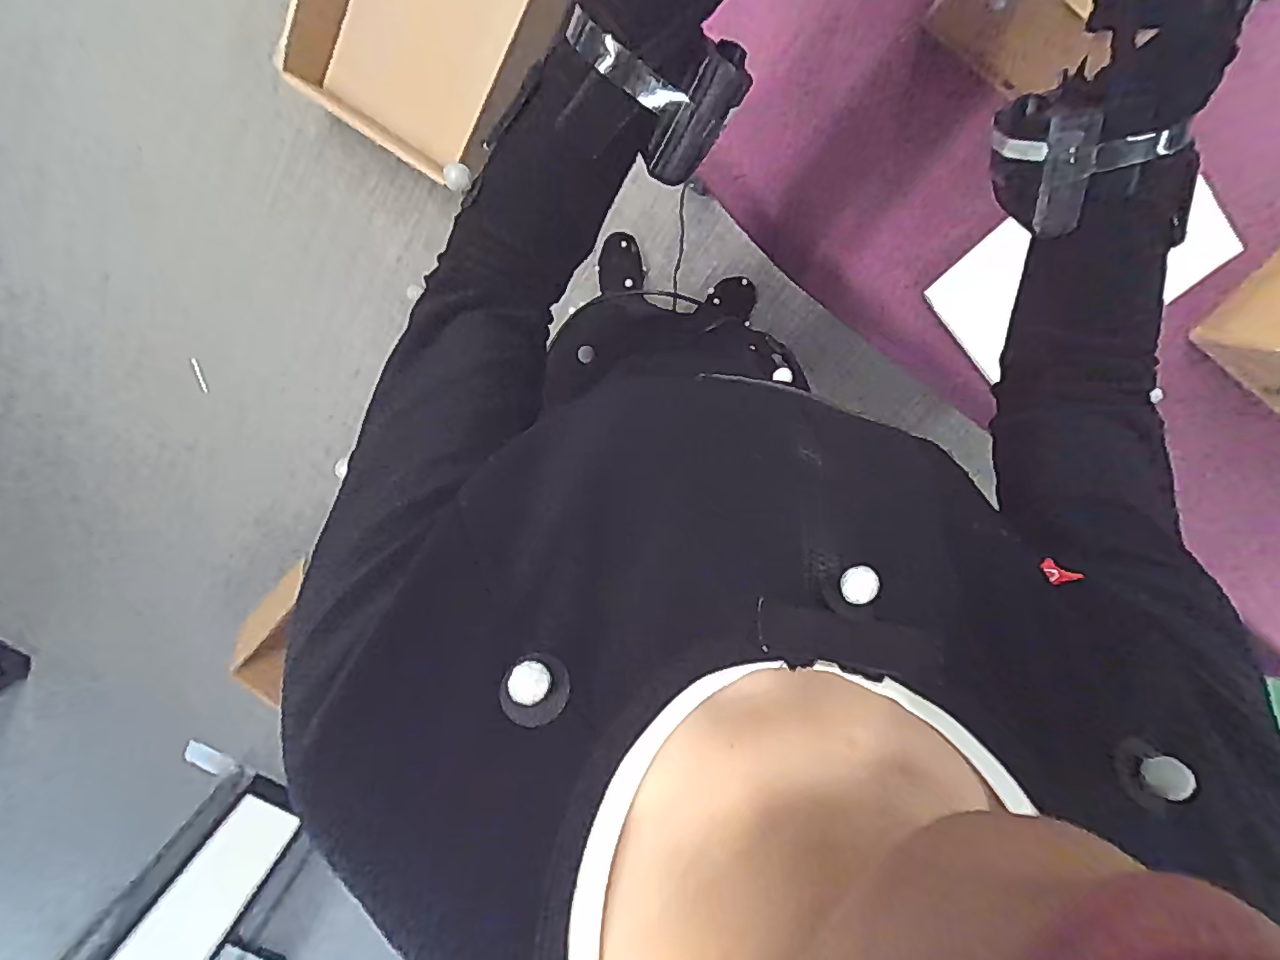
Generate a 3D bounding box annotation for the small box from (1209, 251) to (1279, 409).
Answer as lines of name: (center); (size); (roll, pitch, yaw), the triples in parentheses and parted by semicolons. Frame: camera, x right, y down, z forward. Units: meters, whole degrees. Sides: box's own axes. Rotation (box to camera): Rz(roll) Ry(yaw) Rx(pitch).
small box: (0.735, -0.157, 0.529); (0.168, 0.176, 0.179); (33, 111, -8)
